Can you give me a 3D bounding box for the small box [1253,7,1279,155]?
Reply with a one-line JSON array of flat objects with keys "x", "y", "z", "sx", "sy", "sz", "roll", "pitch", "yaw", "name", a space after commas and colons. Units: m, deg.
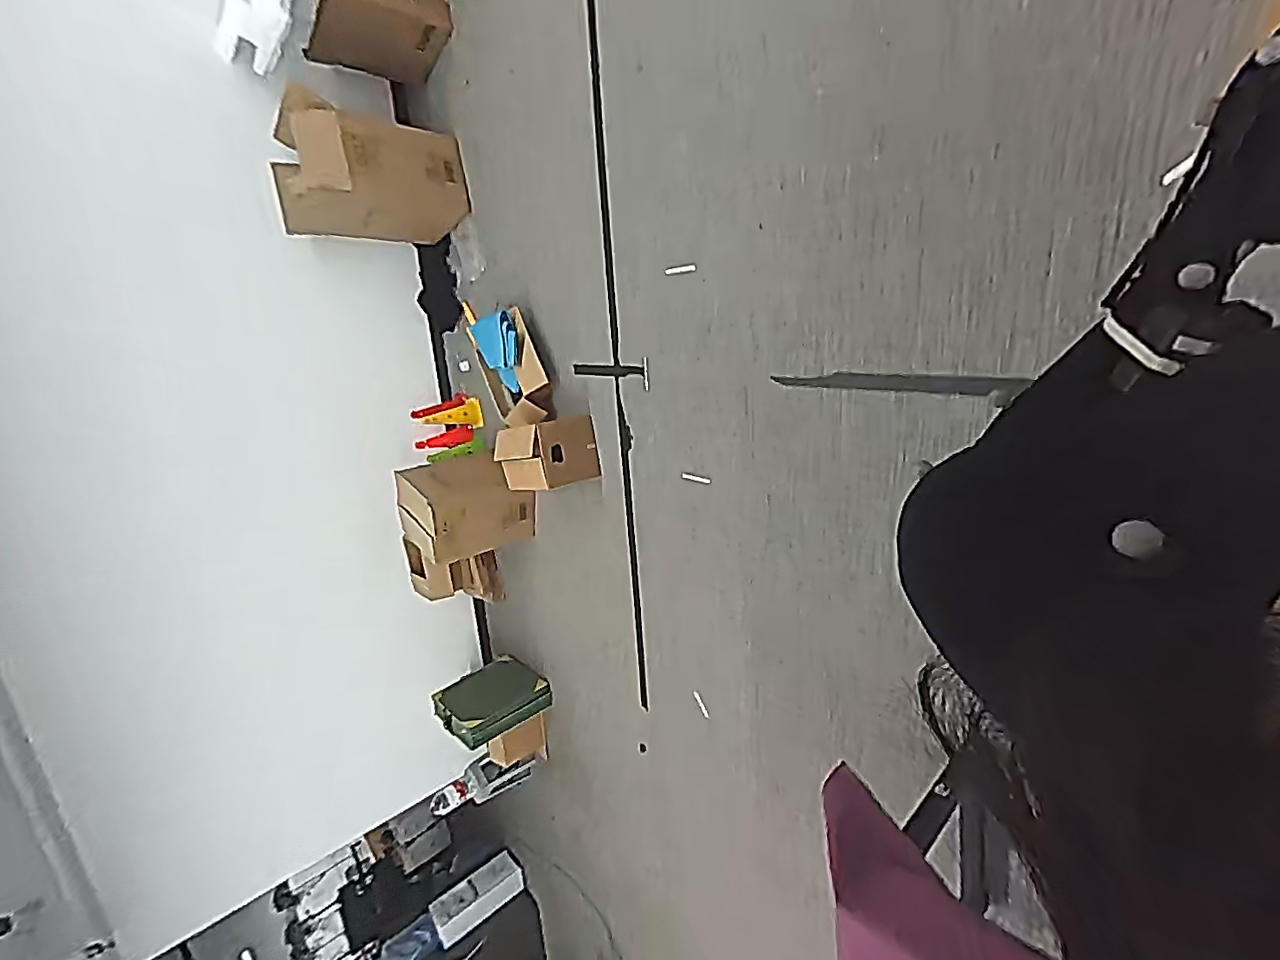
[{"x": 0.489, "y": -0.309, "z": 0.283, "sx": 0.168, "sy": 0.176, "sz": 0.179, "roll": 9, "pitch": 94, "yaw": 25, "name": "small box"}]
